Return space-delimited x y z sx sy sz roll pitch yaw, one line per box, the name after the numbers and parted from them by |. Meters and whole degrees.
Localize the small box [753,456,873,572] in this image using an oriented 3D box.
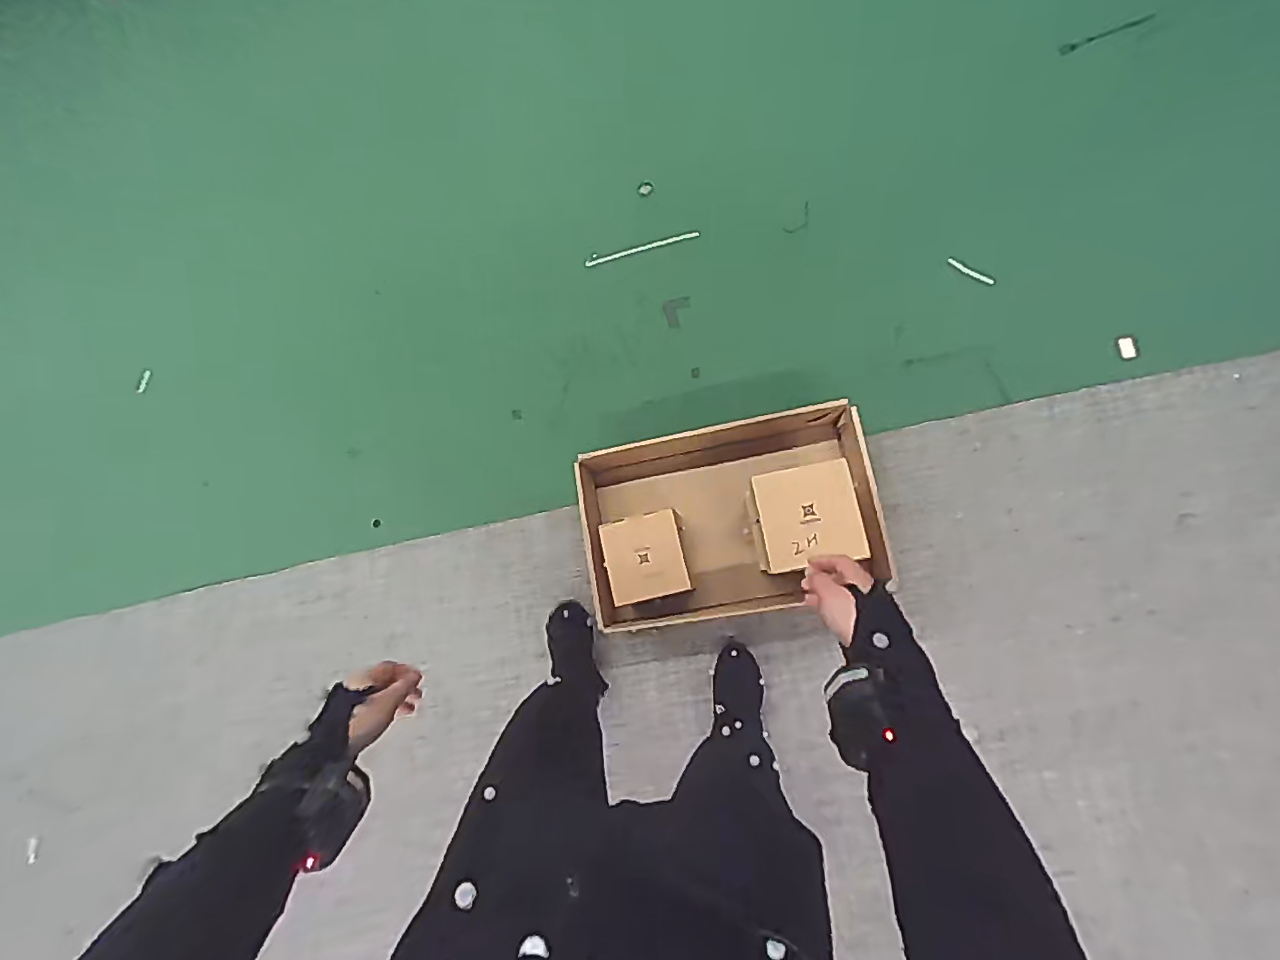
0.304 0.069 0.986 0.168 0.176 0.179 -12 80 9 | small box
